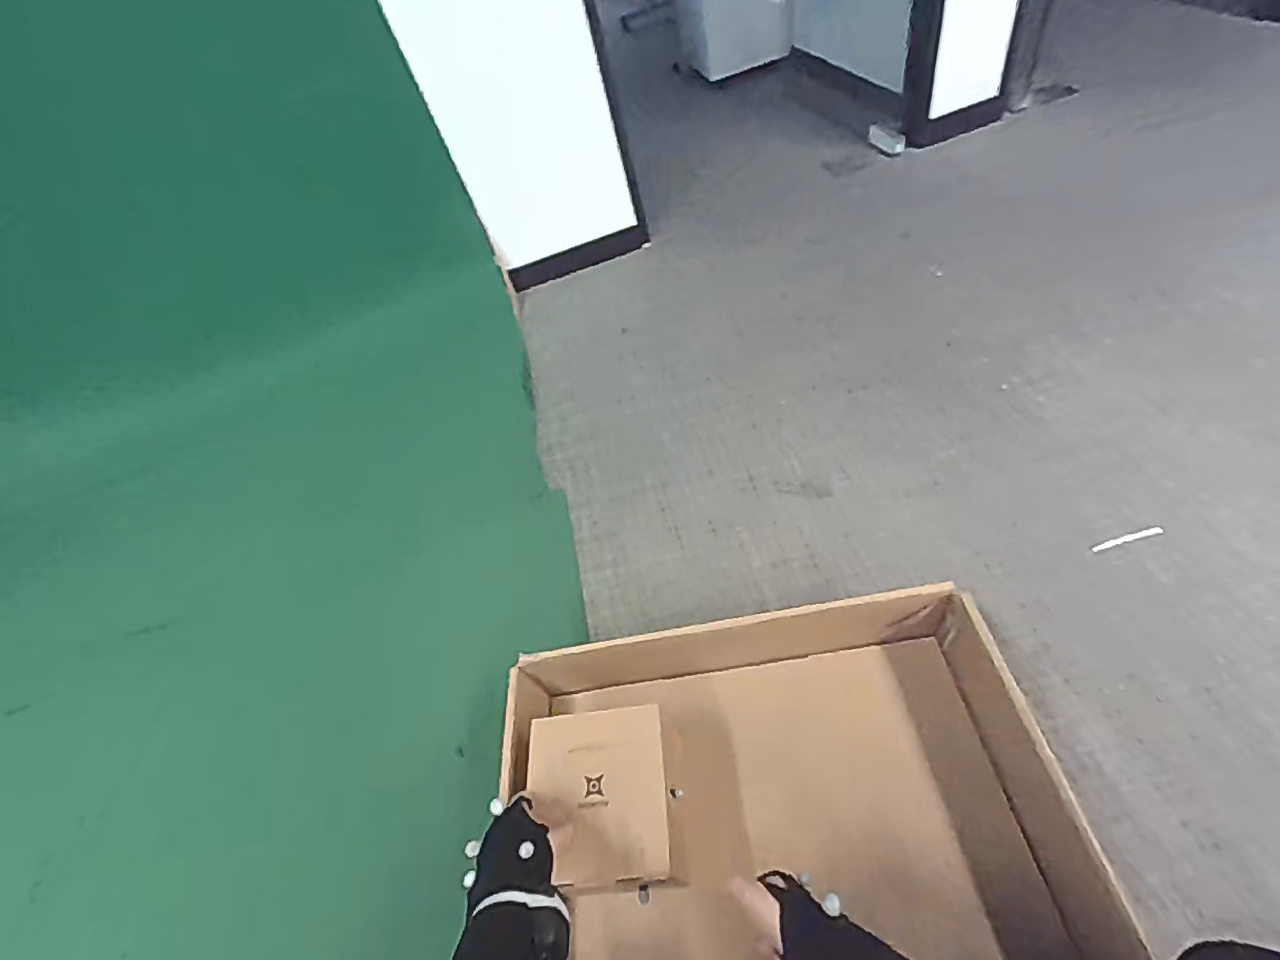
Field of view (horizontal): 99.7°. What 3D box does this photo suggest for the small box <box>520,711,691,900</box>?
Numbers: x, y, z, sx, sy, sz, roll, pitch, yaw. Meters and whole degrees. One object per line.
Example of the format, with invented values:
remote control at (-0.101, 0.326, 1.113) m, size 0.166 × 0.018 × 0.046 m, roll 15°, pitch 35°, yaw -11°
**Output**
small box at (-0.034, 0.406, 0.669) m, size 0.168 × 0.176 × 0.179 m, roll -10°, pitch 49°, yaw 7°
